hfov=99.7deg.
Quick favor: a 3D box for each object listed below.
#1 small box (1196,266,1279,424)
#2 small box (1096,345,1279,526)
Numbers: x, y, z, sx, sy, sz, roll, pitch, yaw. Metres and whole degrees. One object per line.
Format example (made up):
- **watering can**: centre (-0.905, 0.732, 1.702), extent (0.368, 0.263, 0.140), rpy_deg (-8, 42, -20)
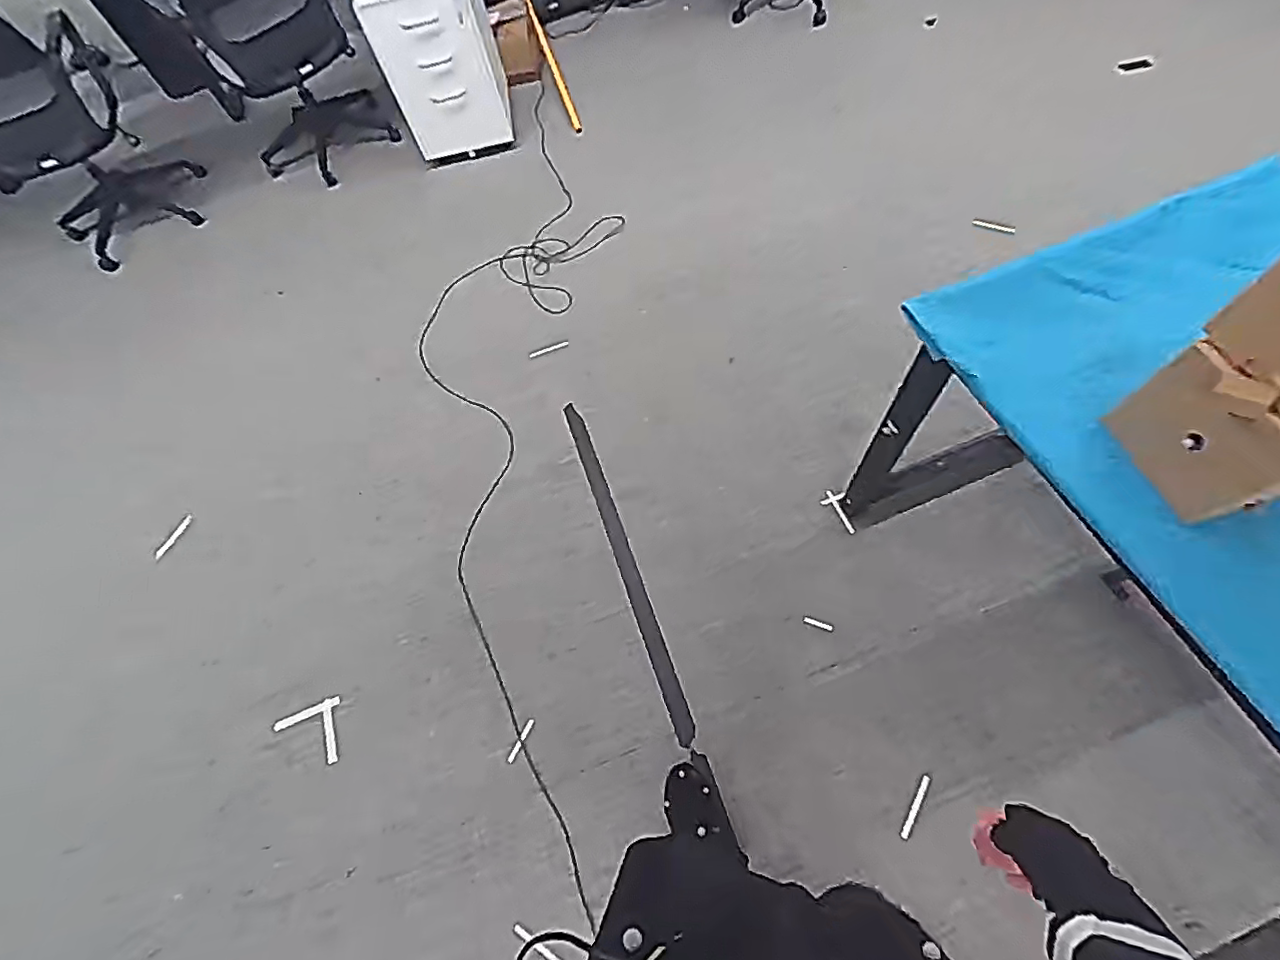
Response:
- **small box**: centre (0.713, -0.153, 0.498), extent (0.179, 0.176, 0.168), rpy_deg (-15, 63, 1)
- **small box**: centre (0.723, -0.070, 0.641), extent (0.179, 0.176, 0.168), rpy_deg (-17, 63, -1)
